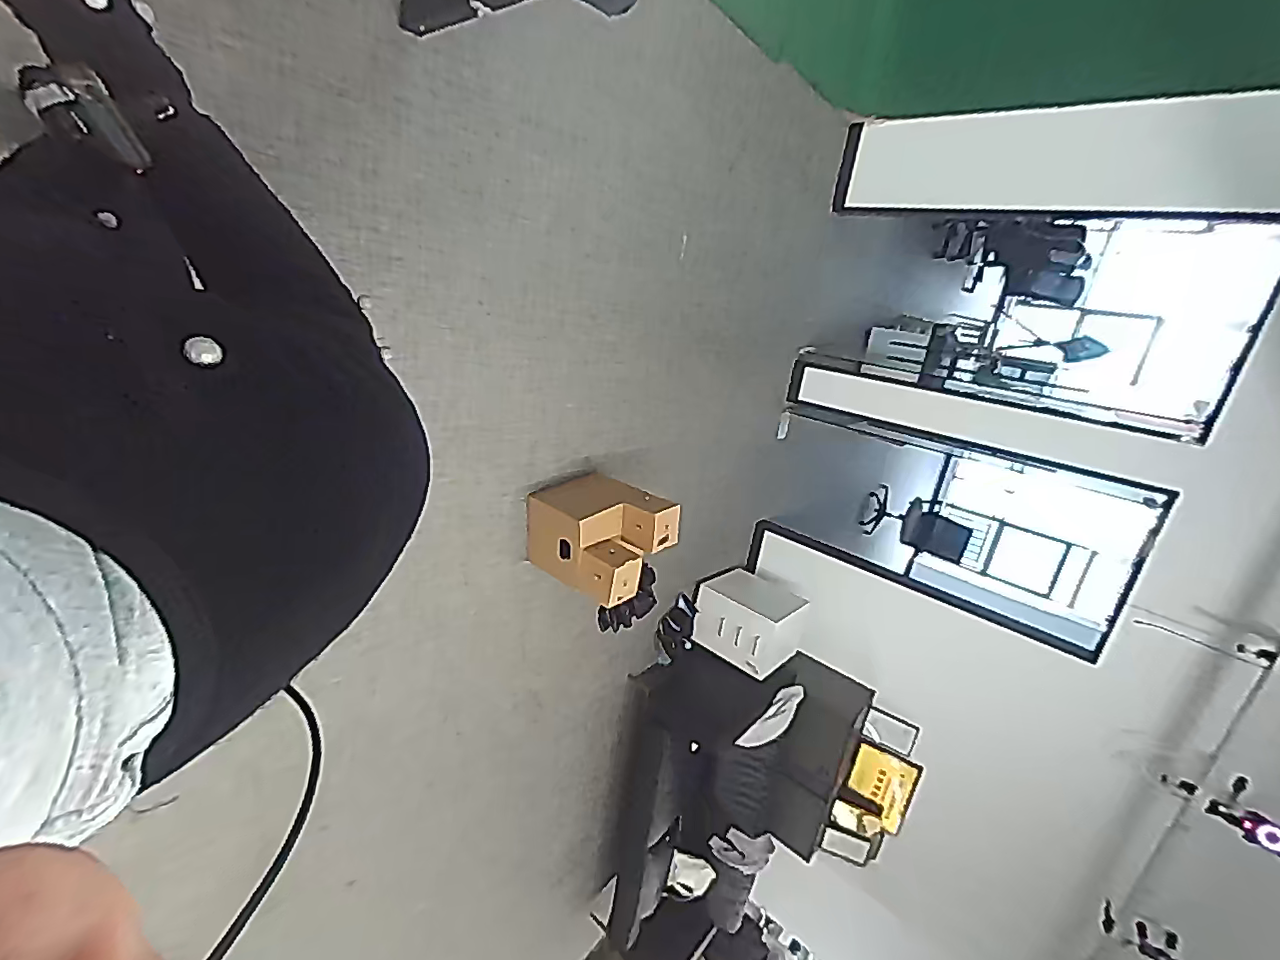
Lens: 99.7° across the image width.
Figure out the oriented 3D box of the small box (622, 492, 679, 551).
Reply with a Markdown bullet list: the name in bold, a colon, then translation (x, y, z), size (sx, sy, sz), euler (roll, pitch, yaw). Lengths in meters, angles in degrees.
- **small box**: translation (0.039, 0.163, 2.200), size (0.168, 0.176, 0.179), euler (-19, 118, -49)

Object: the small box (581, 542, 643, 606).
- **small box**: translation (-0.113, 0.353, 2.088), size (0.168, 0.176, 0.179), euler (-16, 120, -50)
